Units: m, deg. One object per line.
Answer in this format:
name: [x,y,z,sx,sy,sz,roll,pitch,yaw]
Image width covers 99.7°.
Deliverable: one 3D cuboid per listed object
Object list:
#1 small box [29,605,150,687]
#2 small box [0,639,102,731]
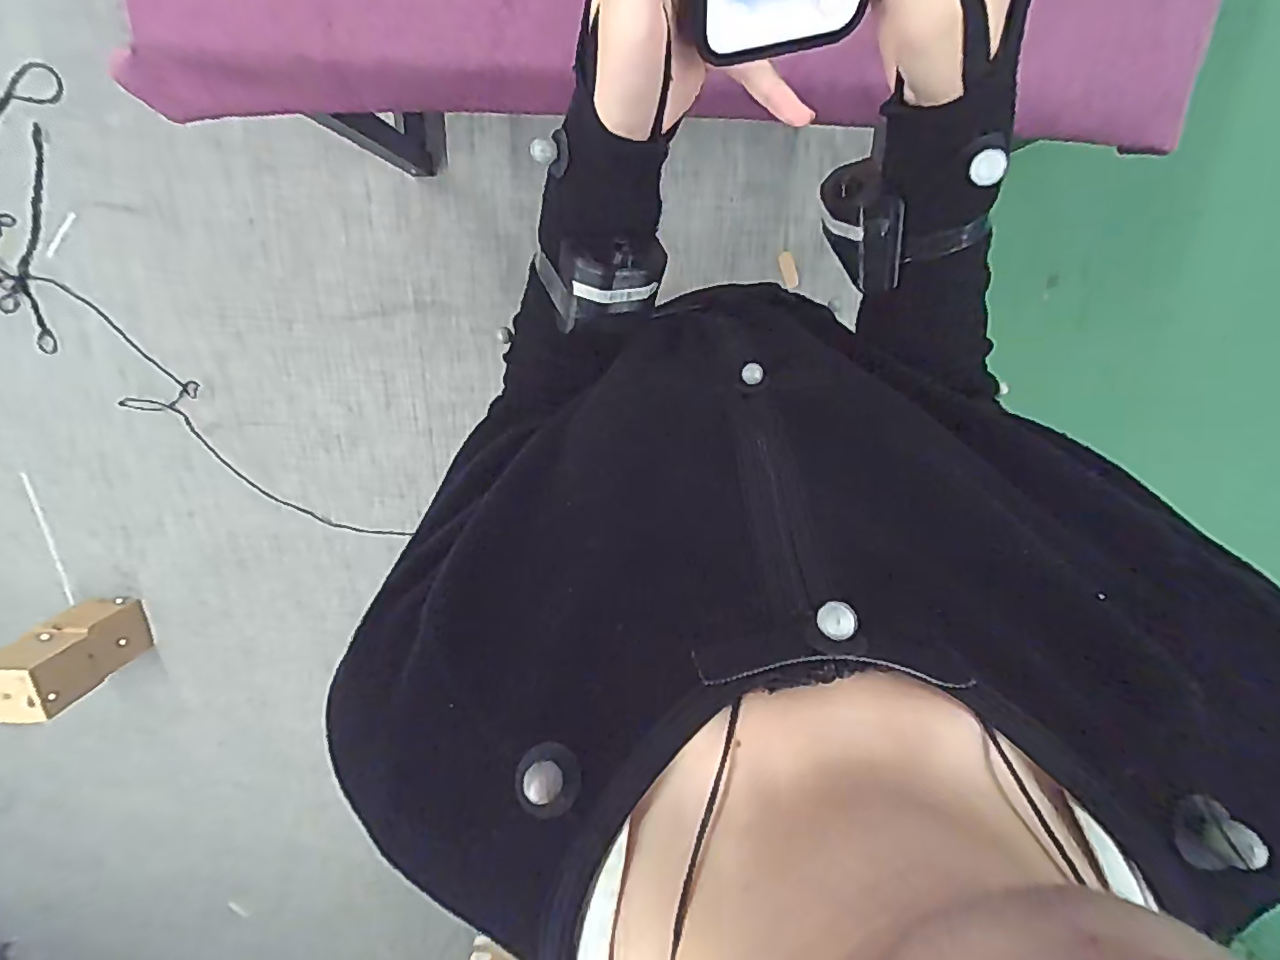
small box: [-1.629,0.489,1.611,0.168,0.176,0.179,1,108,1]
small box: [-1.630,0.544,1.457,0.179,0.176,0.168,2,108,1]
